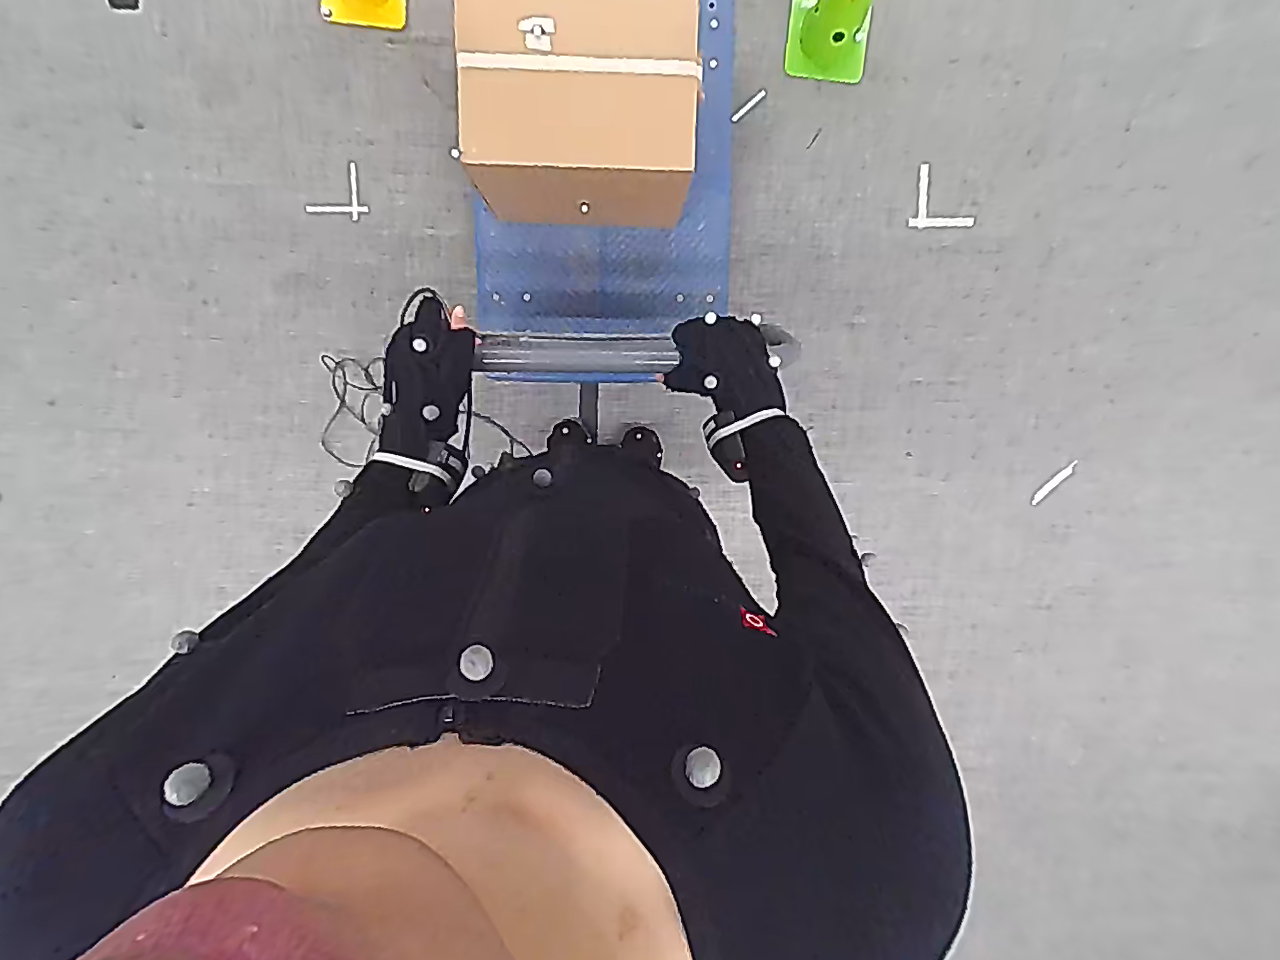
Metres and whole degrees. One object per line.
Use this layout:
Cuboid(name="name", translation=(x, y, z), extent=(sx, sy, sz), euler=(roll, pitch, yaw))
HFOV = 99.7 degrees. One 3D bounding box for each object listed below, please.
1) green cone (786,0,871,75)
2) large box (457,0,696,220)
Cuboid(name="green cone", translation=(0.476, -1.099, 1.171), extent=(0.202, 0.368, 0.200), euler=(5, 98, -4))
Cuboid(name="large box", translation=(-0.107, -0.716, 1.056), extent=(0.408, 0.320, 0.320), euler=(1, 98, -2))
